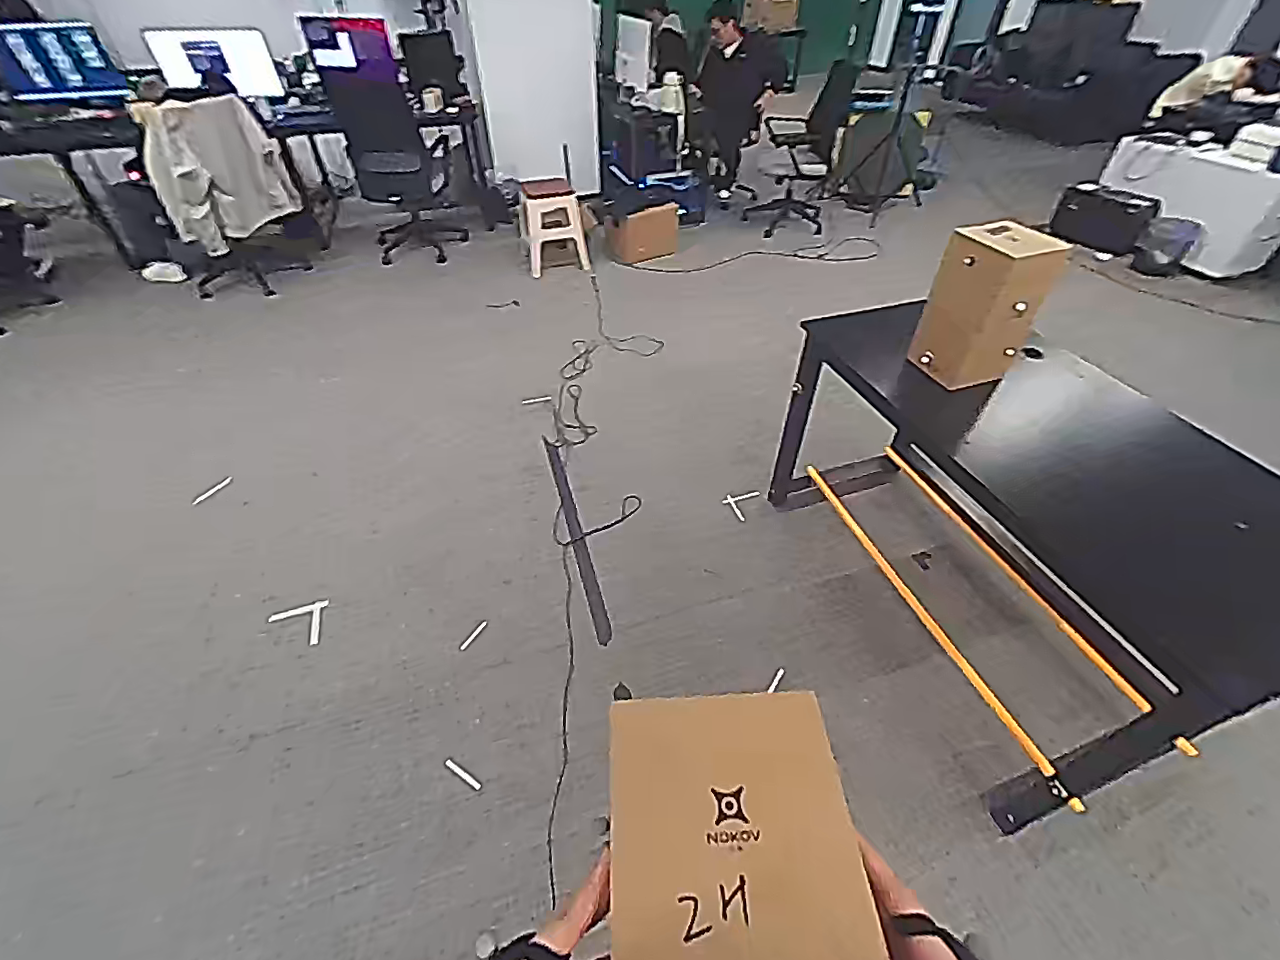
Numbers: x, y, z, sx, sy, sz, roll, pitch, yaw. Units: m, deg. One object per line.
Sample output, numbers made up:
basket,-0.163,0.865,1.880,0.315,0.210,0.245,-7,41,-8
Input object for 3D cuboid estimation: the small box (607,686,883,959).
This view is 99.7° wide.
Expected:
small box,0.060,0.287,0.429,0.168,0.176,0.179,-3,44,-1

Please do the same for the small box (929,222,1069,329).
small box,0.806,-0.467,1.237,0.168,0.176,0.179,-16,46,-15

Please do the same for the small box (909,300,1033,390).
small box,0.813,-0.349,1.351,0.179,0.176,0.168,-15,45,-13
